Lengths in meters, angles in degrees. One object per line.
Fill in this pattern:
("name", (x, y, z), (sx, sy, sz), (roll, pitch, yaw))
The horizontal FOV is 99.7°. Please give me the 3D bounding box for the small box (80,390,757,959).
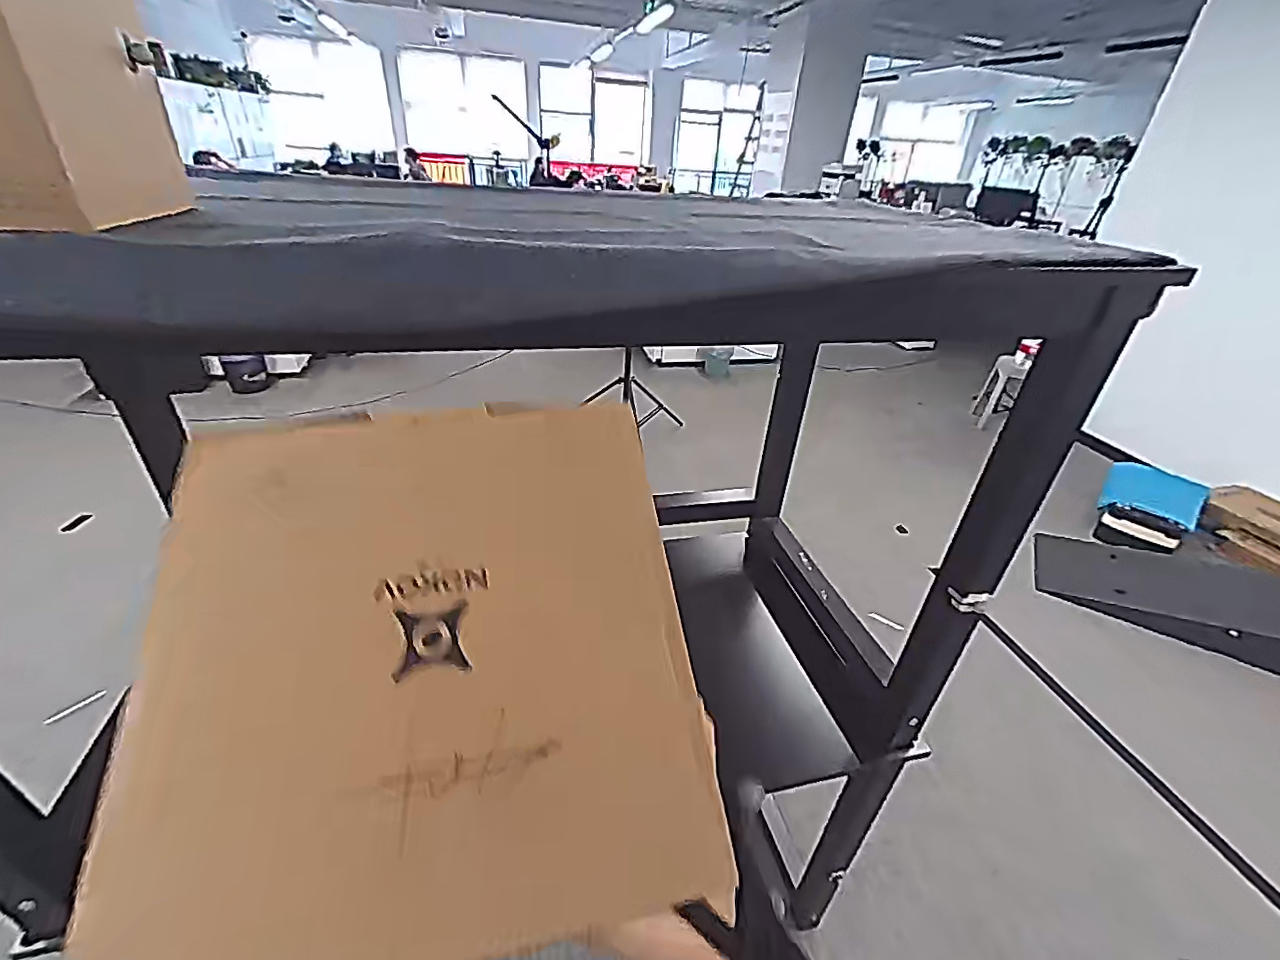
("small box", (-0.073, 0.084, 0.241), (0.168, 0.176, 0.179), (-8, 63, -12))
